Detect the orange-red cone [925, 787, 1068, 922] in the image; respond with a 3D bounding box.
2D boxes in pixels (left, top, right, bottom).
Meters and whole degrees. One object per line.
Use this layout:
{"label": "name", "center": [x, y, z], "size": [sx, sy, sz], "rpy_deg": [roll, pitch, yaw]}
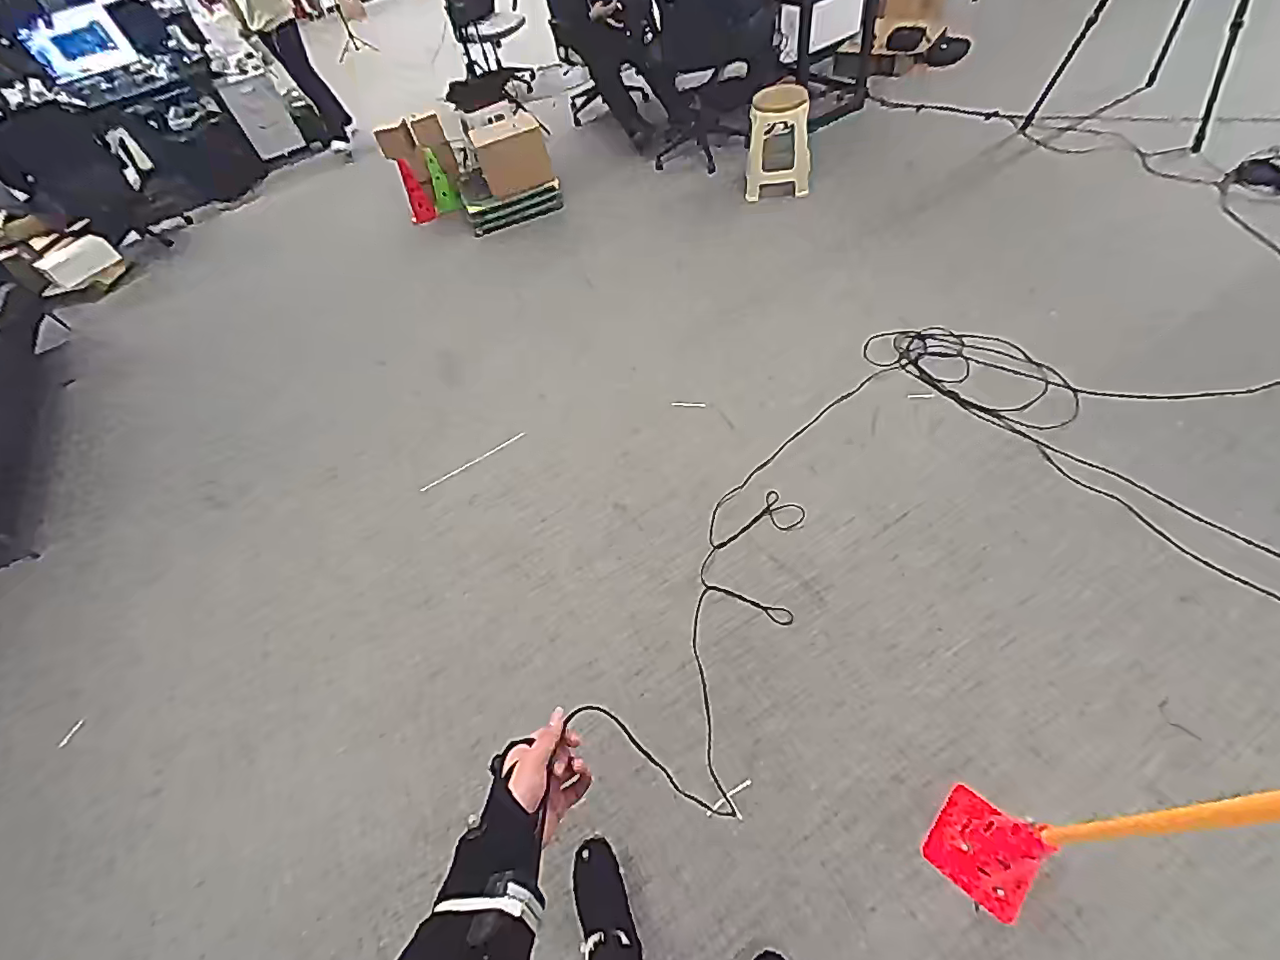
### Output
{"label": "orange-red cone", "center": [0.751, 0.730, 1.083], "size": [0.198, 0.360, 0.199], "rpy_deg": [34, 65, 30]}
